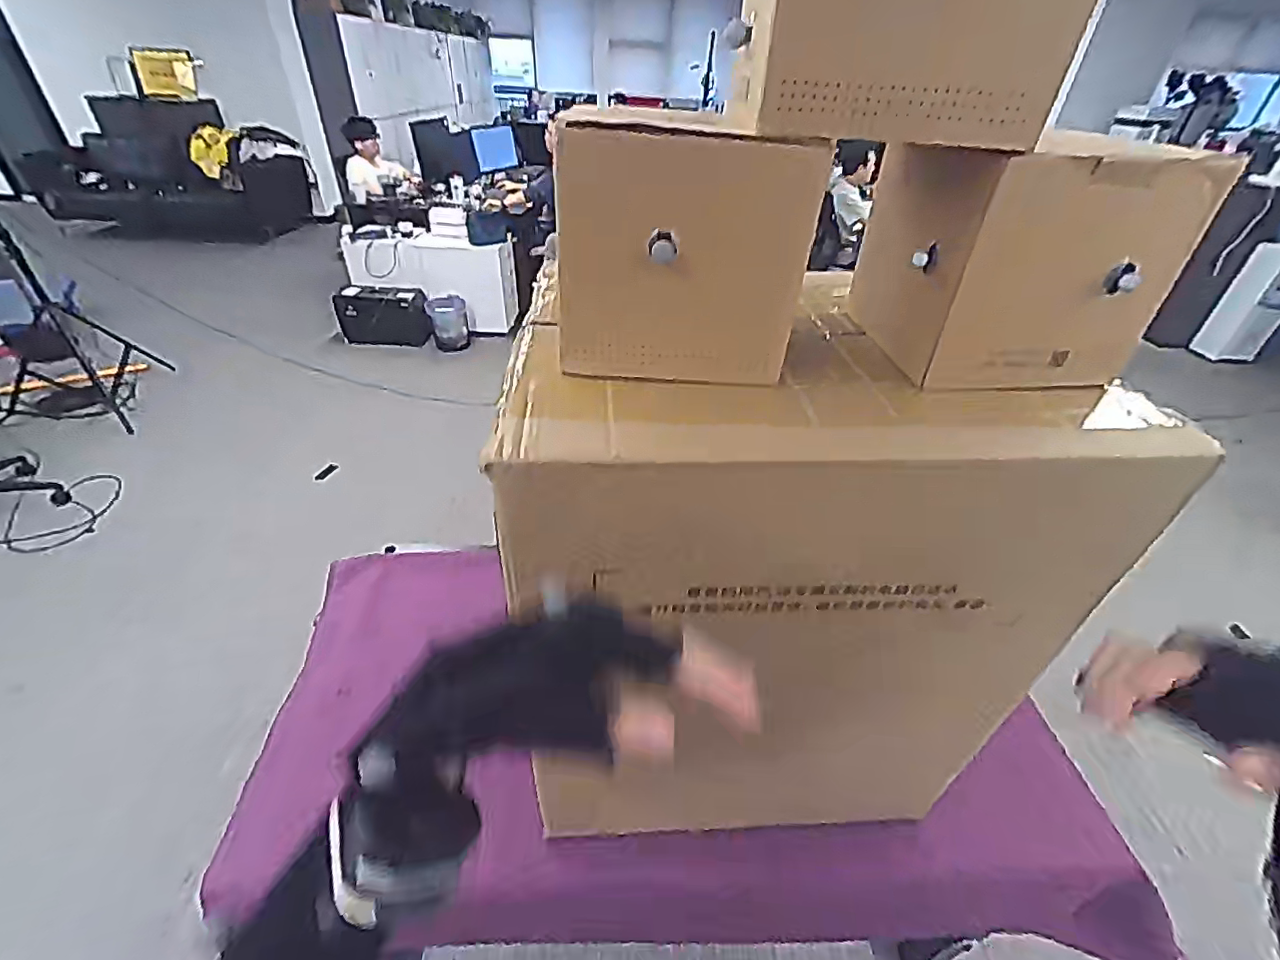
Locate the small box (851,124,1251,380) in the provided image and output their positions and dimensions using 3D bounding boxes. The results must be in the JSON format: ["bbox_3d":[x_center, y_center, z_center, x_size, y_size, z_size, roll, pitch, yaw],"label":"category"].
[{"bbox_3d":[0.304,-0.193,0.454,0.168,0.176,0.179,-1,36,-5],"label":"small box"}]

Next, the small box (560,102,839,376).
[{"bbox_3d":[0.032,-0.196,0.438,0.179,0.176,0.168,3,37,-3],"label":"small box"}]

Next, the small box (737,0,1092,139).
[{"bbox_3d":[0.167,-0.322,0.343,0.179,0.176,0.168,3,37,1],"label":"small box"}]
